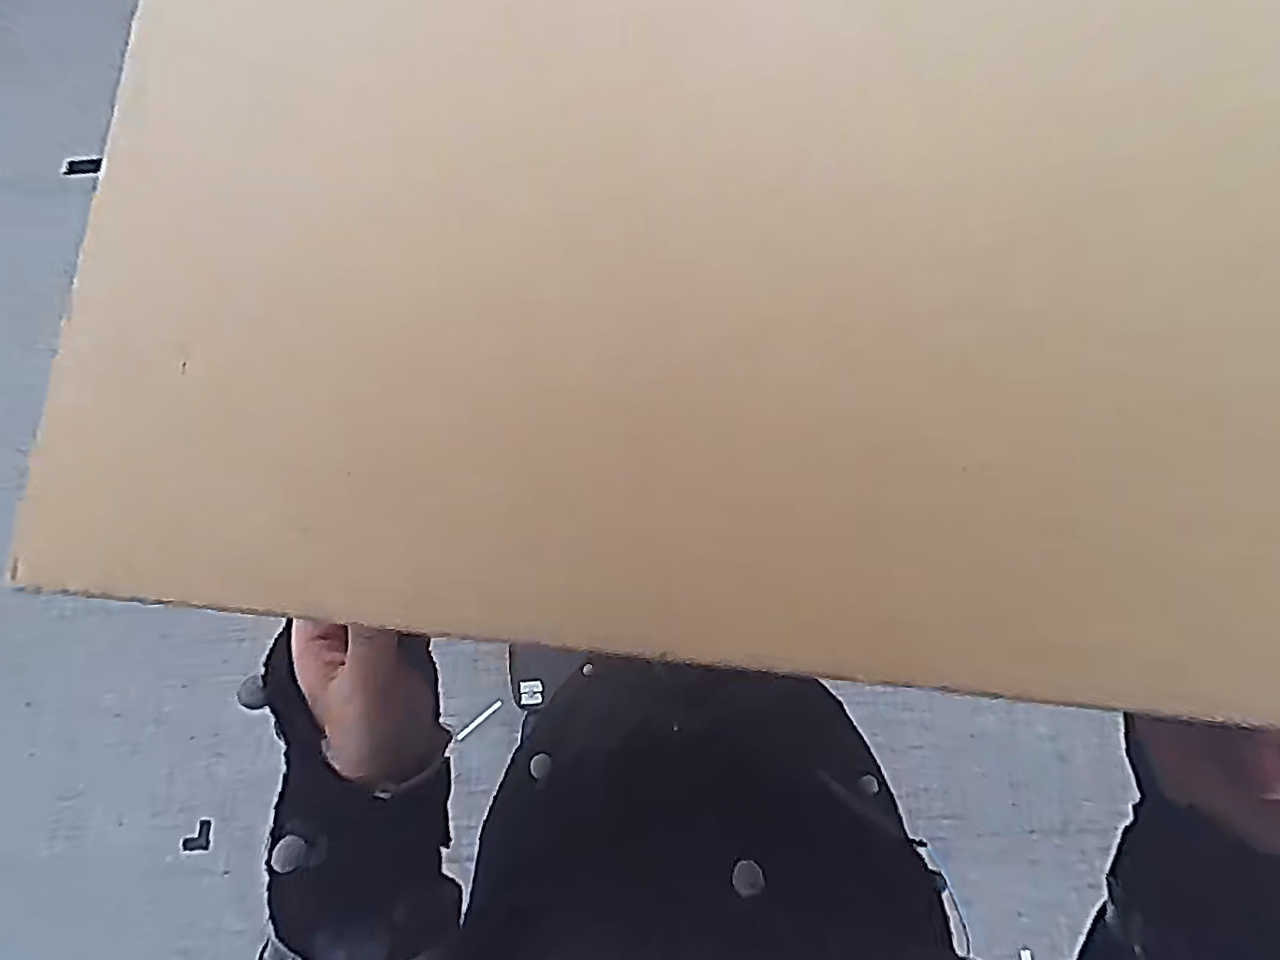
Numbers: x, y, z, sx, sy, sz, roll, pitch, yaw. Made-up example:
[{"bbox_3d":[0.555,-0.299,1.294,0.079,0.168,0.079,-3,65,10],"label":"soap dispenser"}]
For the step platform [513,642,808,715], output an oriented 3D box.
[{"bbox_3d":[0.046,0.380,1.288,0.684,0.204,0.286,2,81,2],"label":"step platform"}]
